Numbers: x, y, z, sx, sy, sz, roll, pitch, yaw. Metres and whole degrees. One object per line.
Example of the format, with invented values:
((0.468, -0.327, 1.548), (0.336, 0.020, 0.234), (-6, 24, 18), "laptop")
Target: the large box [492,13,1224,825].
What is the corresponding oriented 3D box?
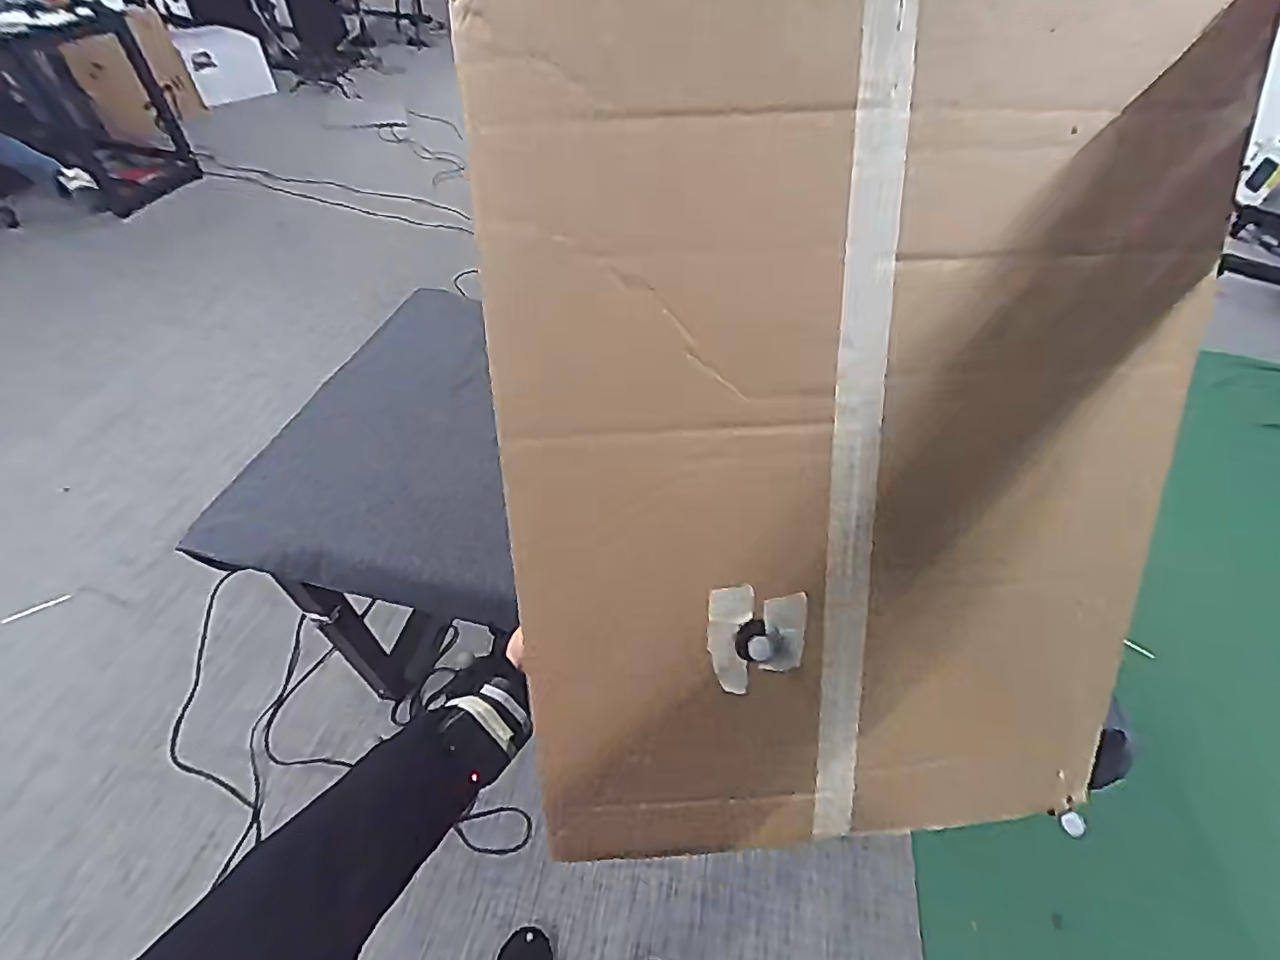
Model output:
((0.093, -0.040, 0.415), (0.320, 0.408, 0.320), (-4, 18, -4), "large box")
